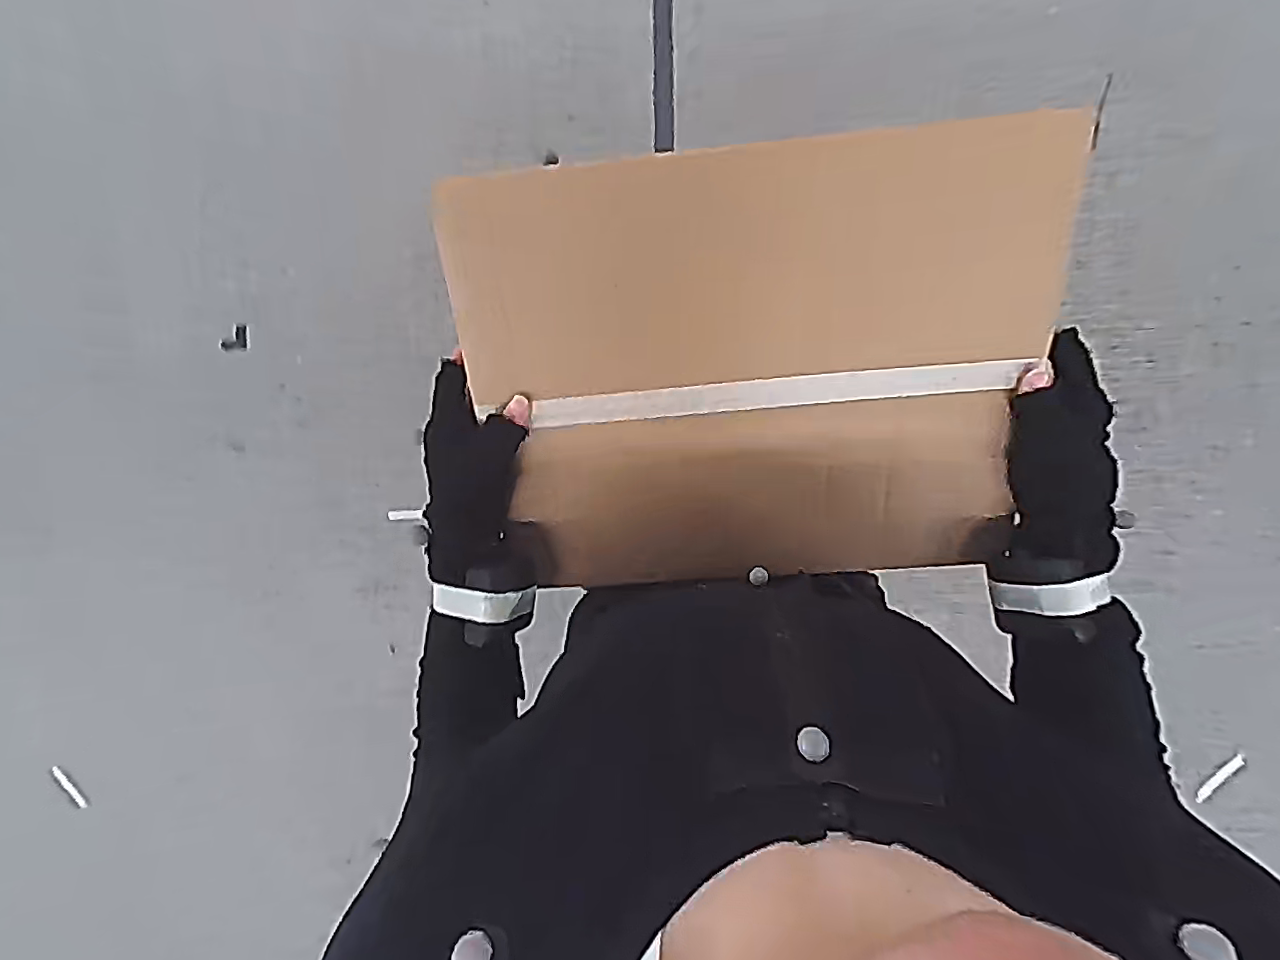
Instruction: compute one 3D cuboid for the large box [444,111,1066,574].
[{"bbox_3d":[0.083,-0.131,0.539,0.408,0.320,0.320,-4,115,4],"label":"large box"}]
